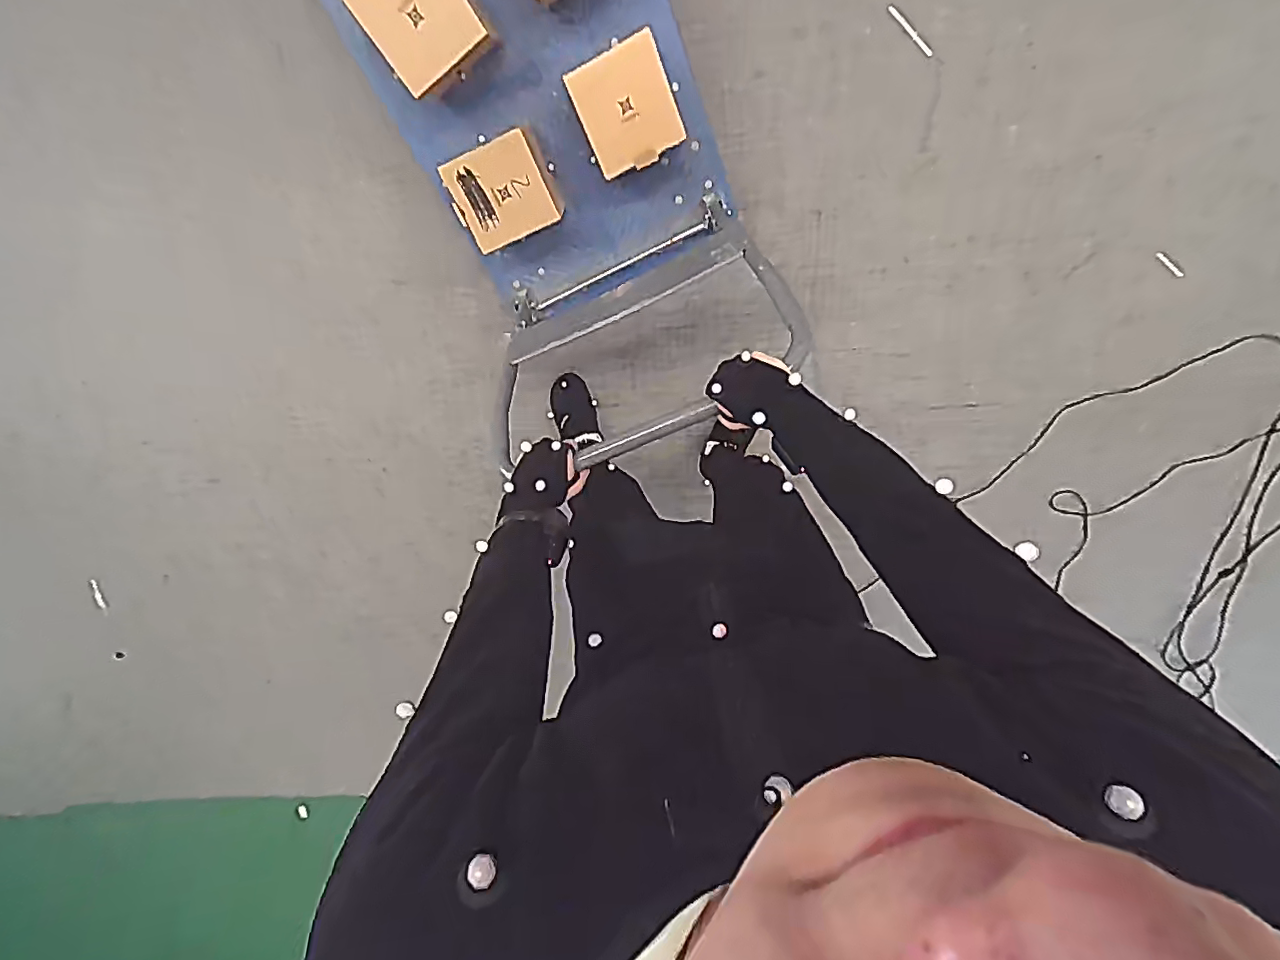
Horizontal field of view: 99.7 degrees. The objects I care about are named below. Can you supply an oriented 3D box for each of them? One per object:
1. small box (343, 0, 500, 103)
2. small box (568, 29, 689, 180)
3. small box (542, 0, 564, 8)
[{"bbox_3d":[-0.365,-0.792,0.933,0.168,0.176,0.179,-29,122,16],"label":"small box"},{"bbox_3d":[-0.023,-0.701,1.021,0.168,0.176,0.179,-22,125,12],"label":"small box"},{"bbox_3d":[-0.142,-0.908,0.862,0.168,0.176,0.179,-28,123,17],"label":"small box"}]
